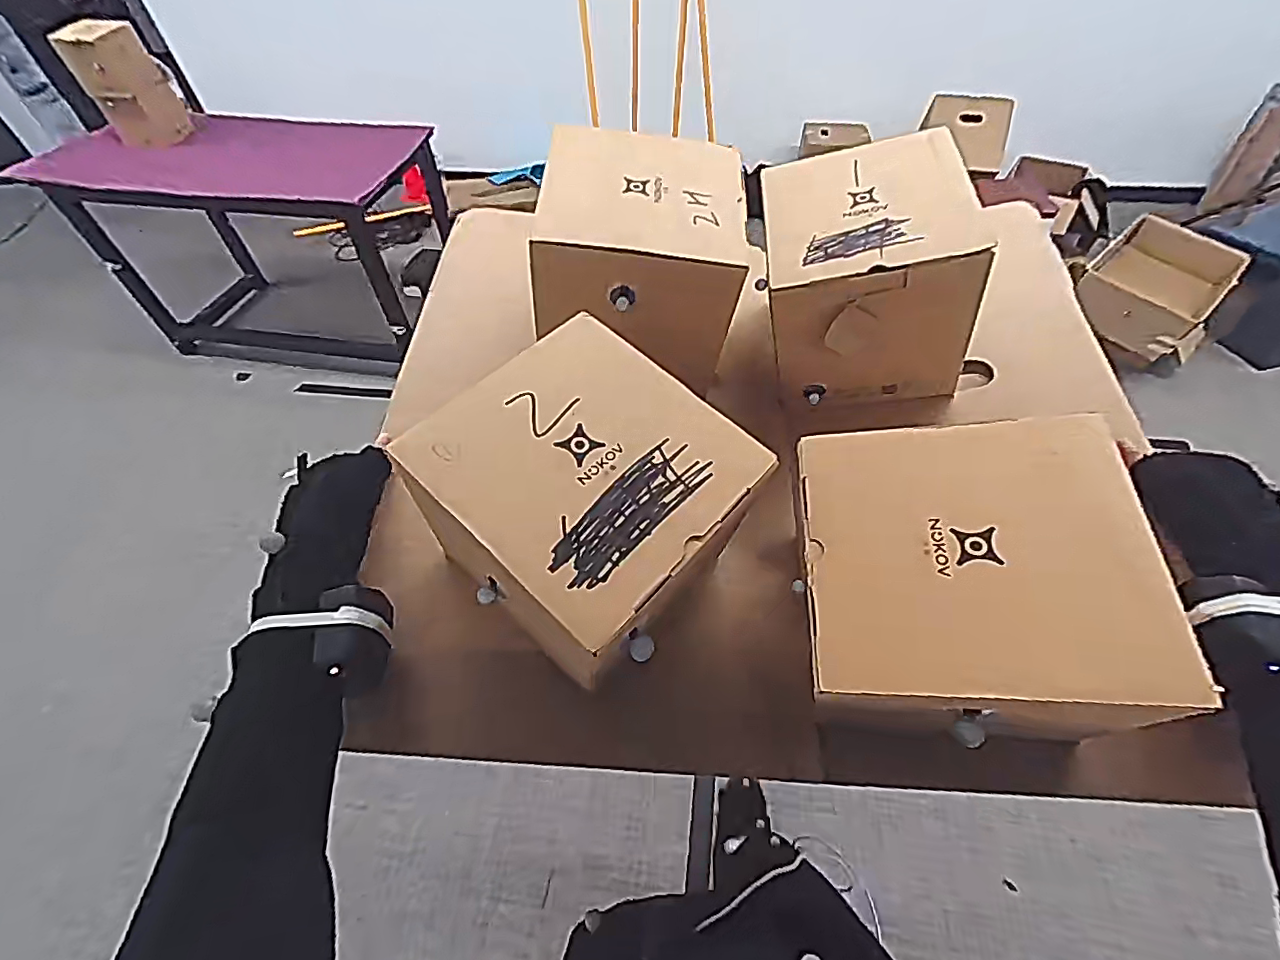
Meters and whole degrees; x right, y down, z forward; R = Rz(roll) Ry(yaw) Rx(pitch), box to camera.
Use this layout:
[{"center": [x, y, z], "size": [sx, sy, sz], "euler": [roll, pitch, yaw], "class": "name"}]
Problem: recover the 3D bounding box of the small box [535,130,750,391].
[{"center": [0.000, -0.206, 0.536], "size": [0.179, 0.176, 0.168], "euler": [6, 61, -4], "class": "small box"}]
